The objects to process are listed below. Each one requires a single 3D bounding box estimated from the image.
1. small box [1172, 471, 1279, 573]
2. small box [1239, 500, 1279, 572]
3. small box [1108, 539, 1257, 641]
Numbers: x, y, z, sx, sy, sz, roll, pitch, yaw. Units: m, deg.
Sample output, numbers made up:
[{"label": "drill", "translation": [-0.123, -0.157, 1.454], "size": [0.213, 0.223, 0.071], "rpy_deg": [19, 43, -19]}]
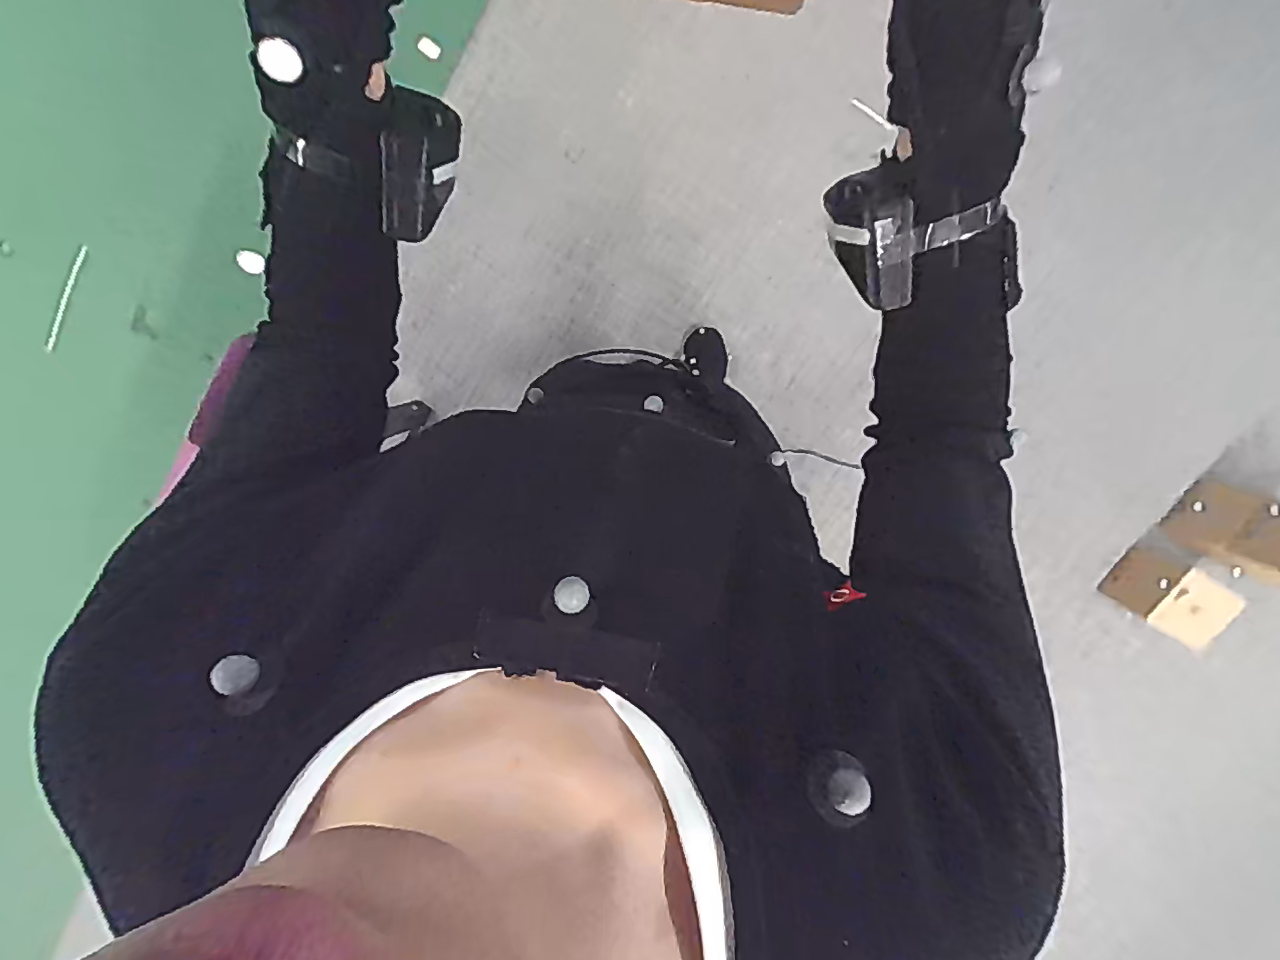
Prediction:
[{"label": "small box", "translation": [1.526, 0.097, 1.357], "size": [0.179, 0.176, 0.168], "rpy_deg": [32, 103, -5]}, {"label": "small box", "translation": [1.524, 0.143, 1.199], "size": [0.179, 0.176, 0.168], "rpy_deg": [31, 104, -6]}, {"label": "small box", "translation": [1.400, 0.278, 1.409], "size": [0.179, 0.176, 0.168], "rpy_deg": [29, 104, -5]}]
